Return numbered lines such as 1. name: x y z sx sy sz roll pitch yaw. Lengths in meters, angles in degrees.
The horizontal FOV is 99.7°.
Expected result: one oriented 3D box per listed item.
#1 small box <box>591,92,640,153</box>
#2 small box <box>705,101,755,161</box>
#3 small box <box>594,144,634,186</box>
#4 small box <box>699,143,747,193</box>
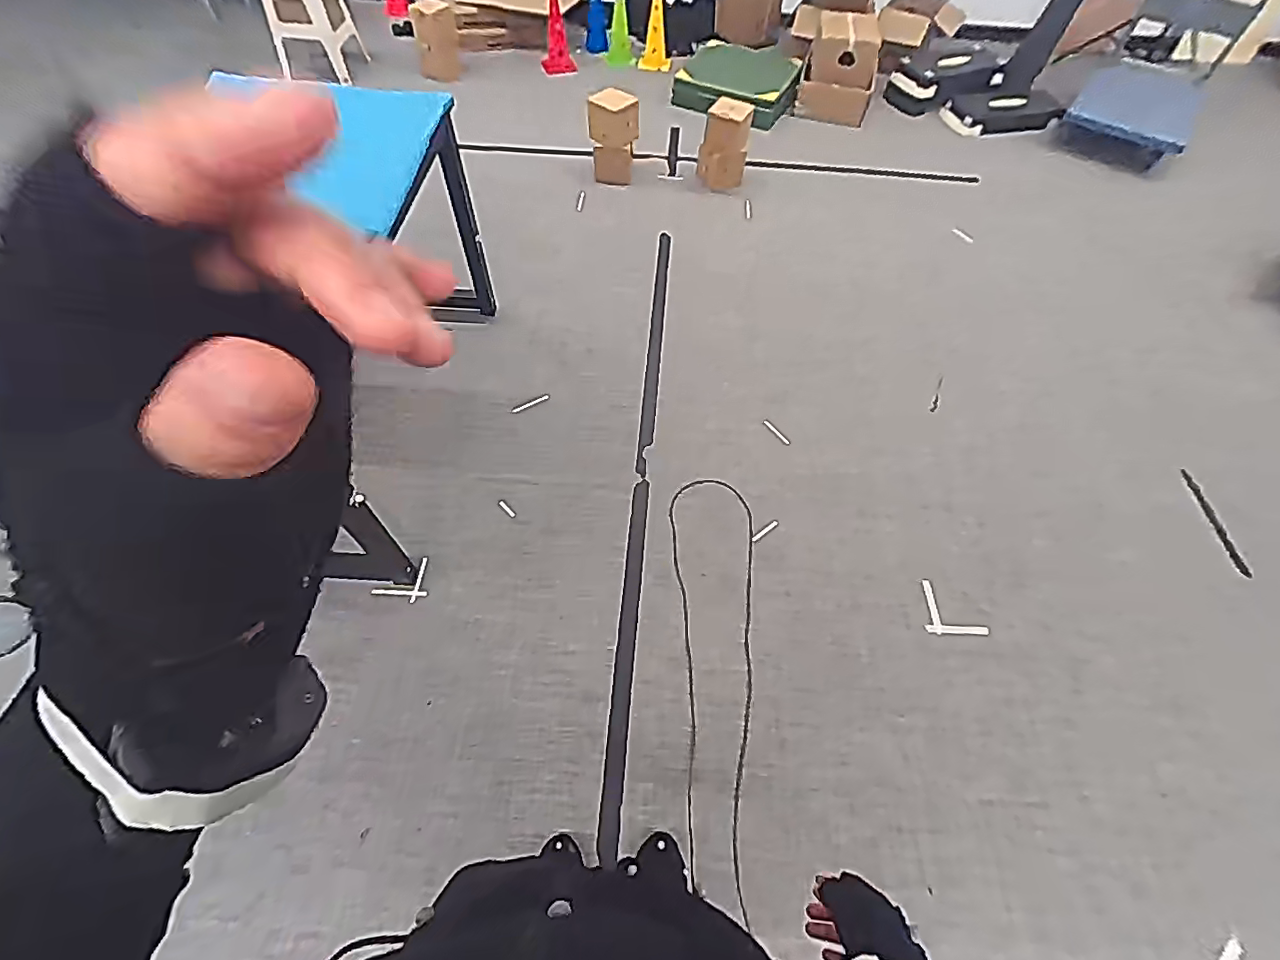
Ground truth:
1. small box: -0.116 -1.673 2.522 0.179 0.176 0.168 36 62 20
2. small box: 0.413 -1.627 2.524 0.168 0.176 0.179 26 59 11
3. small box: -0.123 -1.571 2.656 0.179 0.176 0.168 6 56 2
4. small box: 0.402 -1.548 2.667 0.179 0.176 0.168 -22 62 -15
